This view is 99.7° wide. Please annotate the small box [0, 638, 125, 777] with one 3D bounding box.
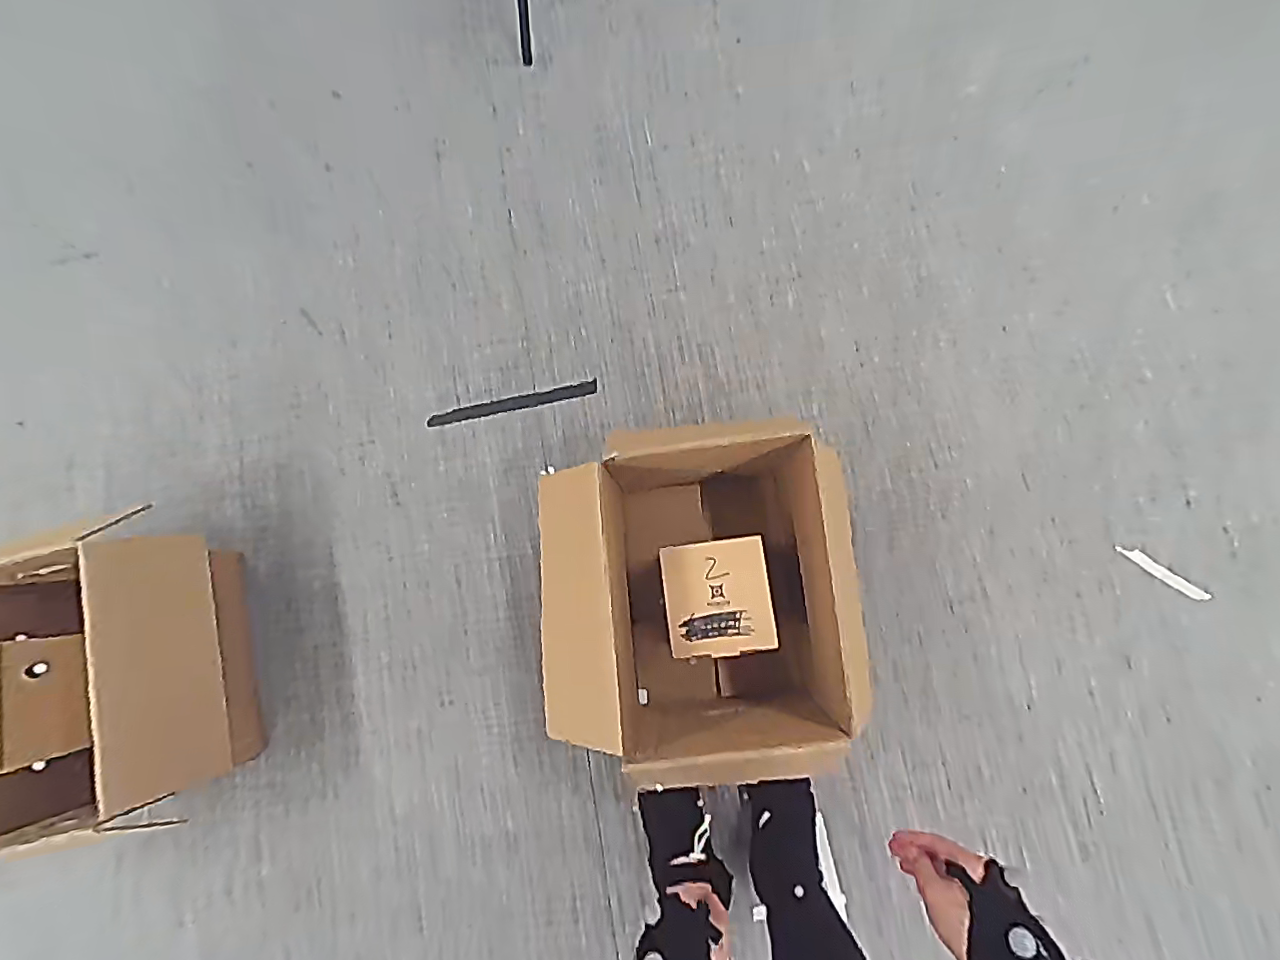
[{"bbox_3d":[-0.940,0.346,0.822,0.168,0.176,0.179,-13,80,3],"label":"small box"}]
